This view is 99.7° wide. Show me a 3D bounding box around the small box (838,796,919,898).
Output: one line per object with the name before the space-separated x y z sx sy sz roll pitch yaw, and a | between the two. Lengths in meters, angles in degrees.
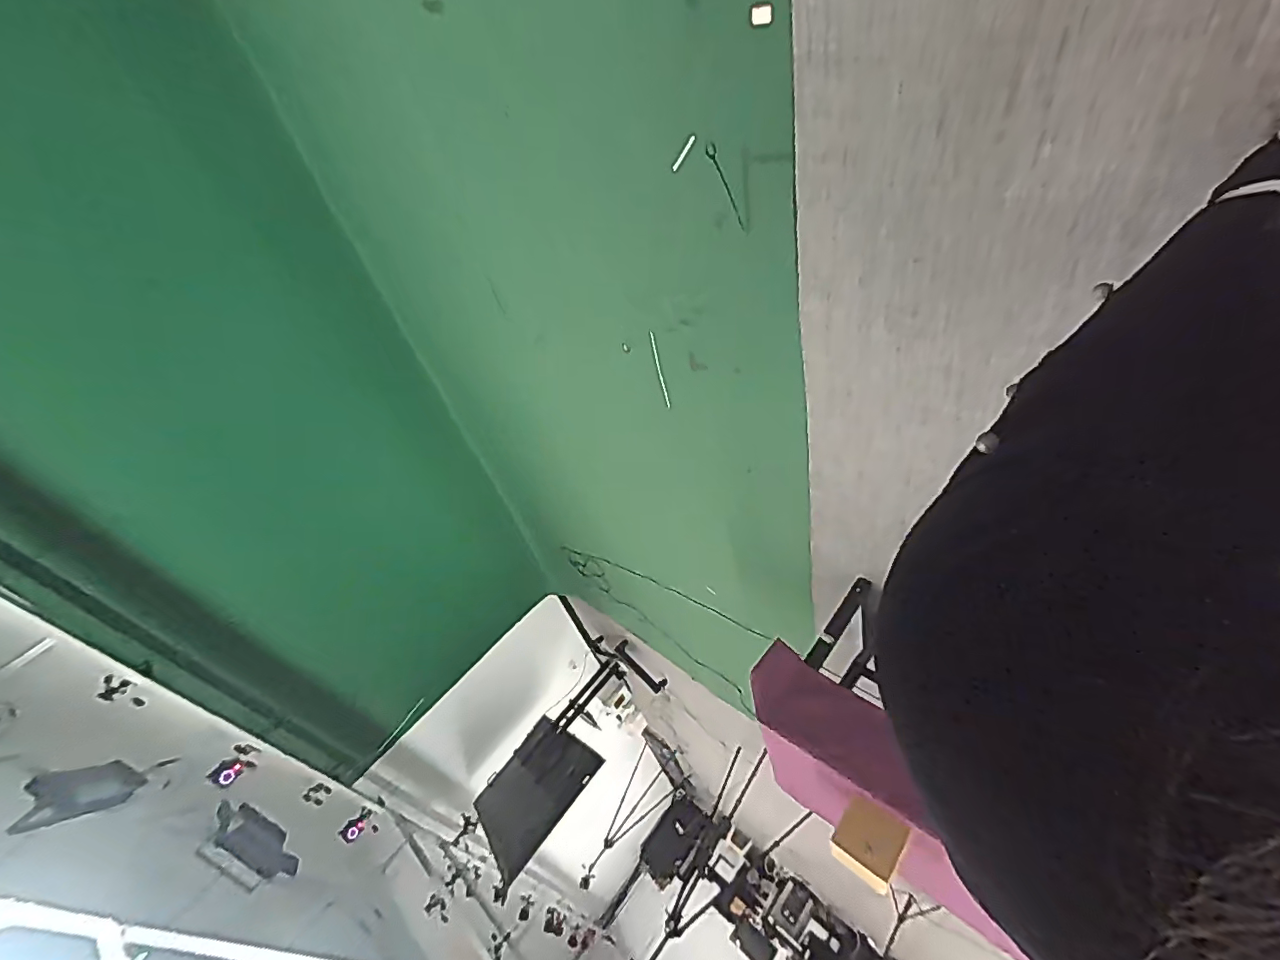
small box | 0.719 1.101 1.628 0.179 0.176 0.168 23 145 38
